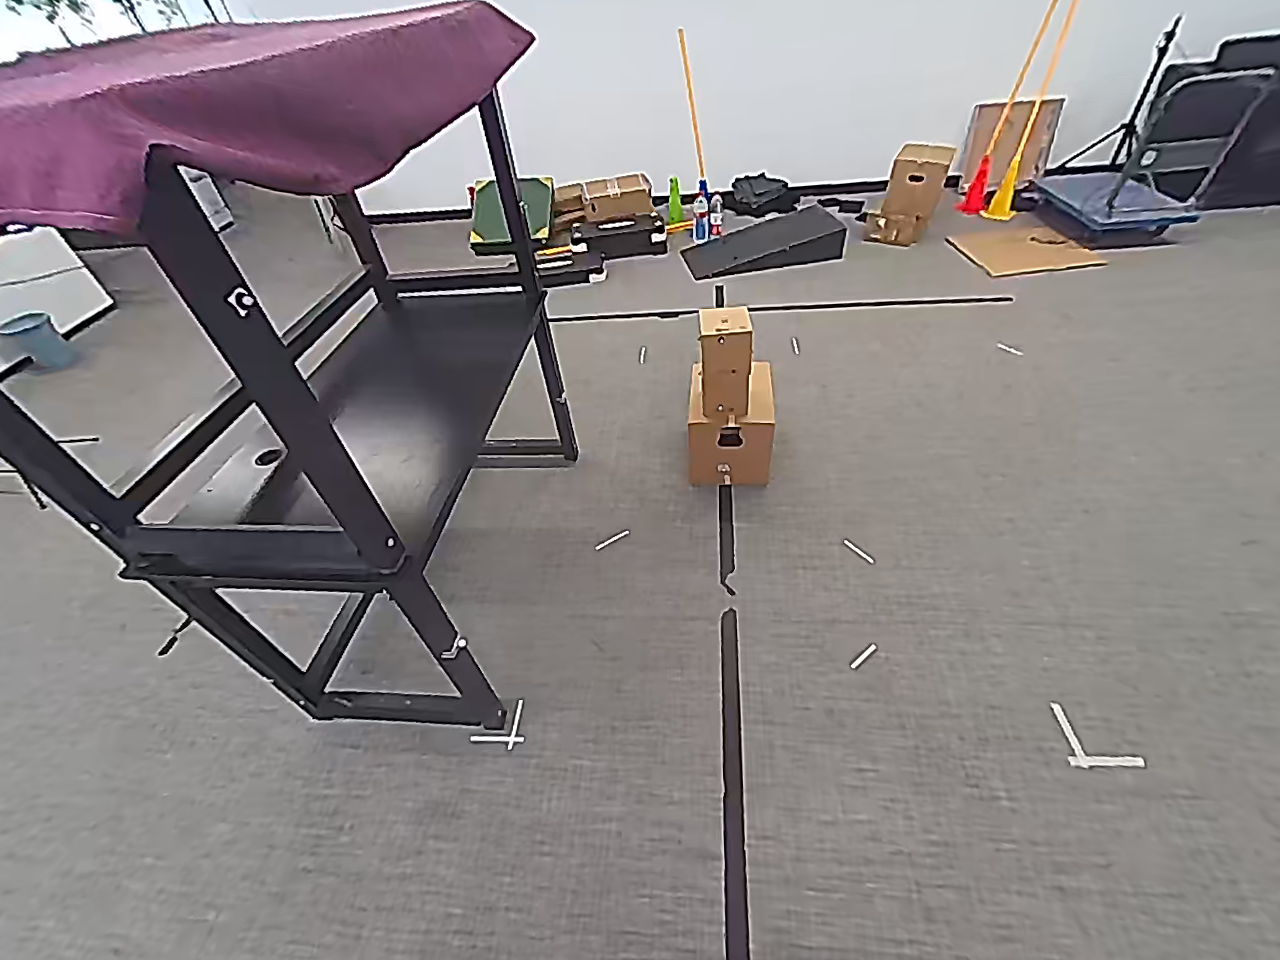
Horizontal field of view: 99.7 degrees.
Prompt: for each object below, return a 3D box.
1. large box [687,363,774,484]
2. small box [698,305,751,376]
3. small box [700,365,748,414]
[{"bbox_3d":[0.353,-0.228,2.167,0.320,0.320,0.408,1,44,7],"label":"large box"},{"bbox_3d":[0.285,-0.473,1.839,0.168,0.176,0.179,-4,43,6],"label":"small box"},{"bbox_3d":[0.302,-0.356,1.953,0.168,0.176,0.179,-1,45,8],"label":"small box"}]
